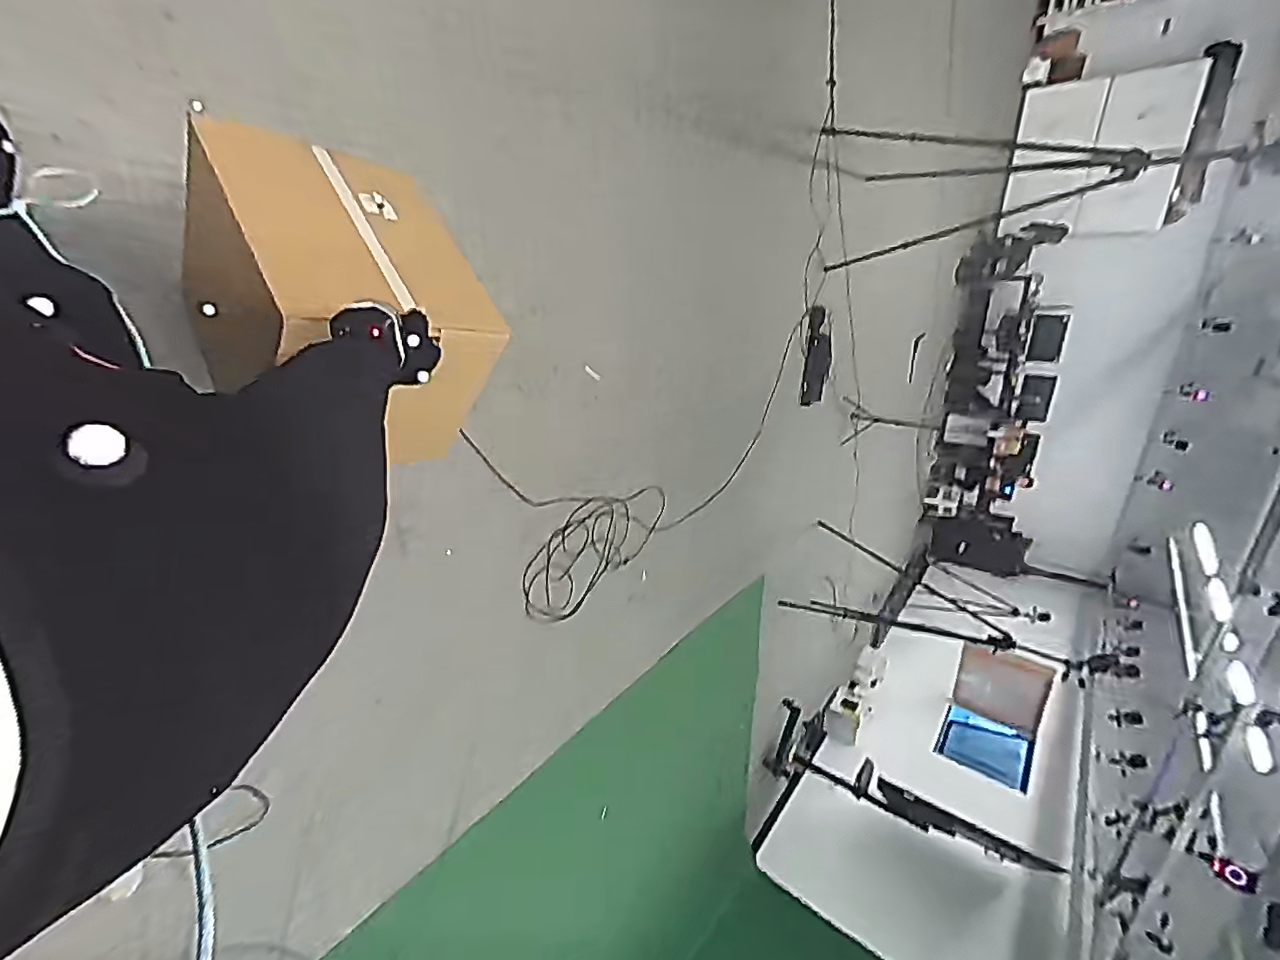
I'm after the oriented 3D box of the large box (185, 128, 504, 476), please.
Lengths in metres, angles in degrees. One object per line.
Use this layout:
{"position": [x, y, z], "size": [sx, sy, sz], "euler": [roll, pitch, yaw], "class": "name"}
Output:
{"position": [-0.496, -0.268, 0.887], "size": [0.320, 0.408, 0.320], "euler": [-12, 151, -49], "class": "large box"}
